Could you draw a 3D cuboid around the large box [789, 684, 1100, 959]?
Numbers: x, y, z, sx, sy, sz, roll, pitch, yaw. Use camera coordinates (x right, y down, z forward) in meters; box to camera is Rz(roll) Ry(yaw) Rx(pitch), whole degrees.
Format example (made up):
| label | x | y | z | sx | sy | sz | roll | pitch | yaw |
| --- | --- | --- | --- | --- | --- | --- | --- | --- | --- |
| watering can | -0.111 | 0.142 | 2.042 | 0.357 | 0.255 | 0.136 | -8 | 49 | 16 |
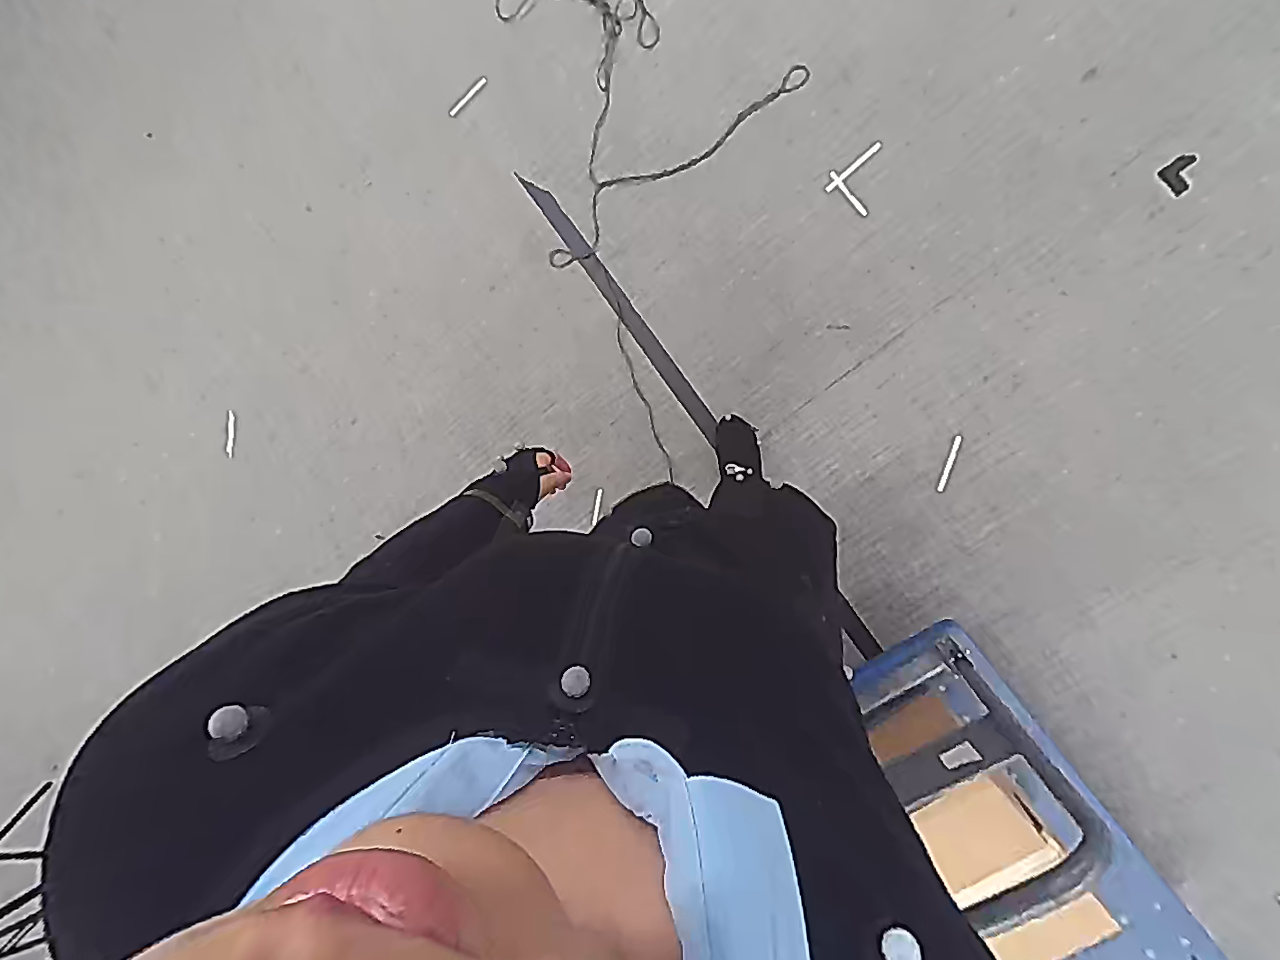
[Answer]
| label | x | y | z | sx | sy | sz | roll | pitch | yaw |
| --- | --- | --- | --- | --- | --- | --- | --- | --- | --- |
| large box | 0.554 | 0.700 | 1.087 | 0.408 | 0.320 | 0.320 | -42 | 83 | 14 |
